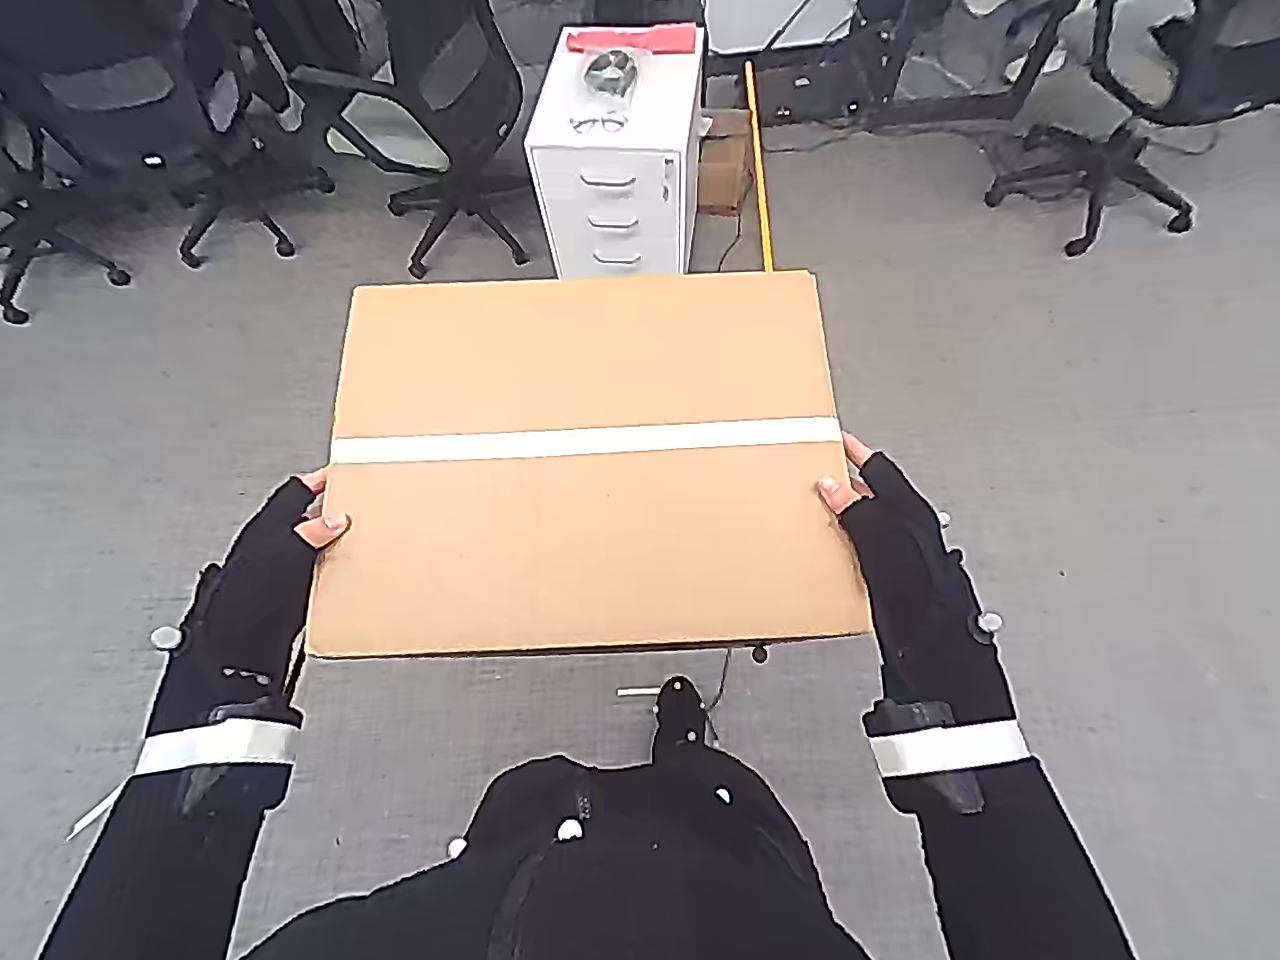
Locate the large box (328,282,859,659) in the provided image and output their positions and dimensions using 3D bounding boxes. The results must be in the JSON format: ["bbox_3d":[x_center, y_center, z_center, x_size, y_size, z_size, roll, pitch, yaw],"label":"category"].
[{"bbox_3d":[-0.039,0.019,0.585,0.408,0.320,0.320,-2,72,-1],"label":"large box"}]
